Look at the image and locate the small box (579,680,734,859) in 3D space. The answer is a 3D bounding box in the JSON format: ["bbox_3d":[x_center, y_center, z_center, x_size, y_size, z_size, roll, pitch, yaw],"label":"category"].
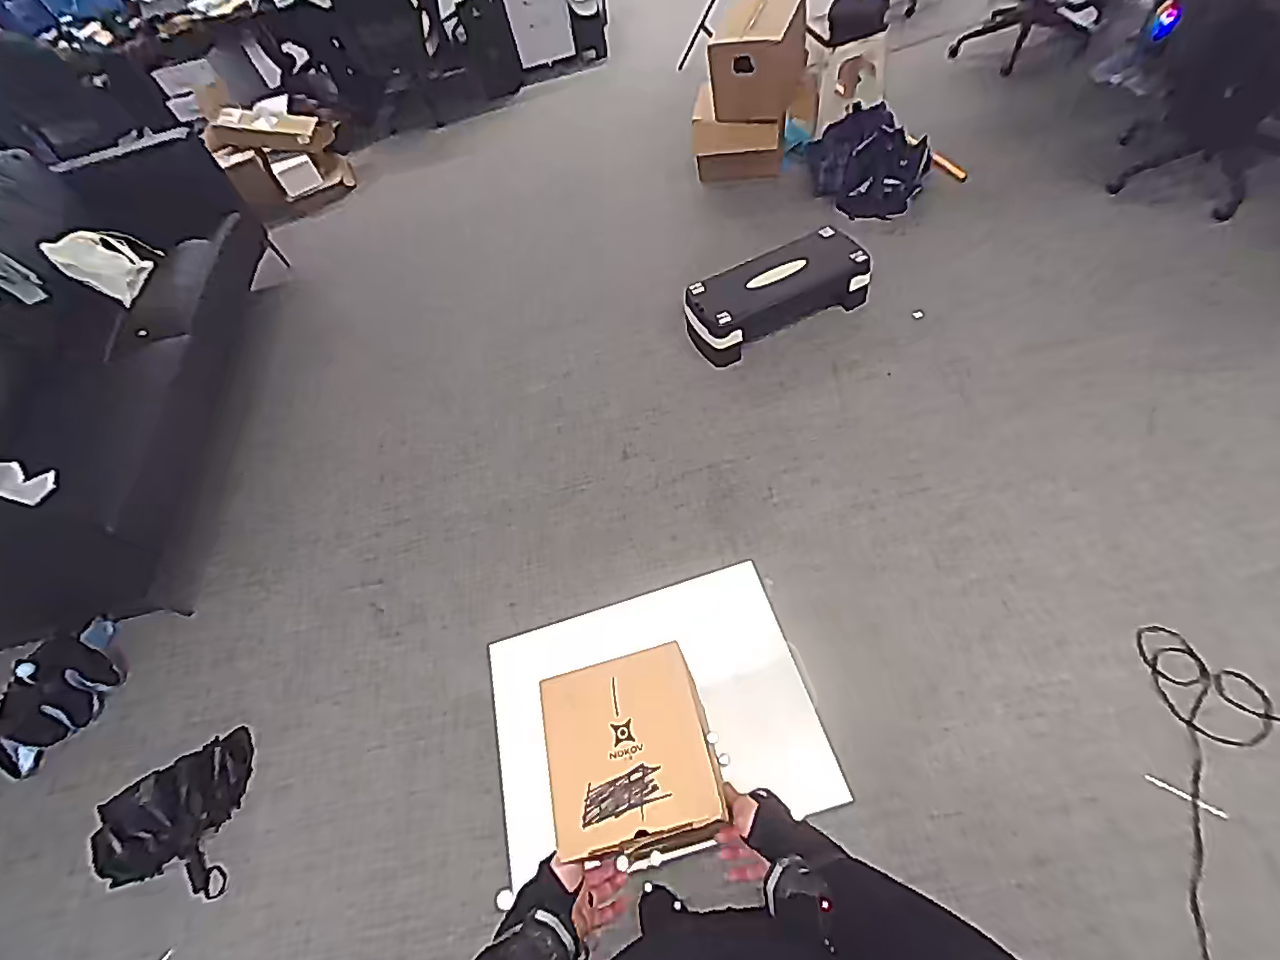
[{"bbox_3d":[0.026,0.408,0.756,0.168,0.176,0.179,-18,54,1],"label":"small box"}]
